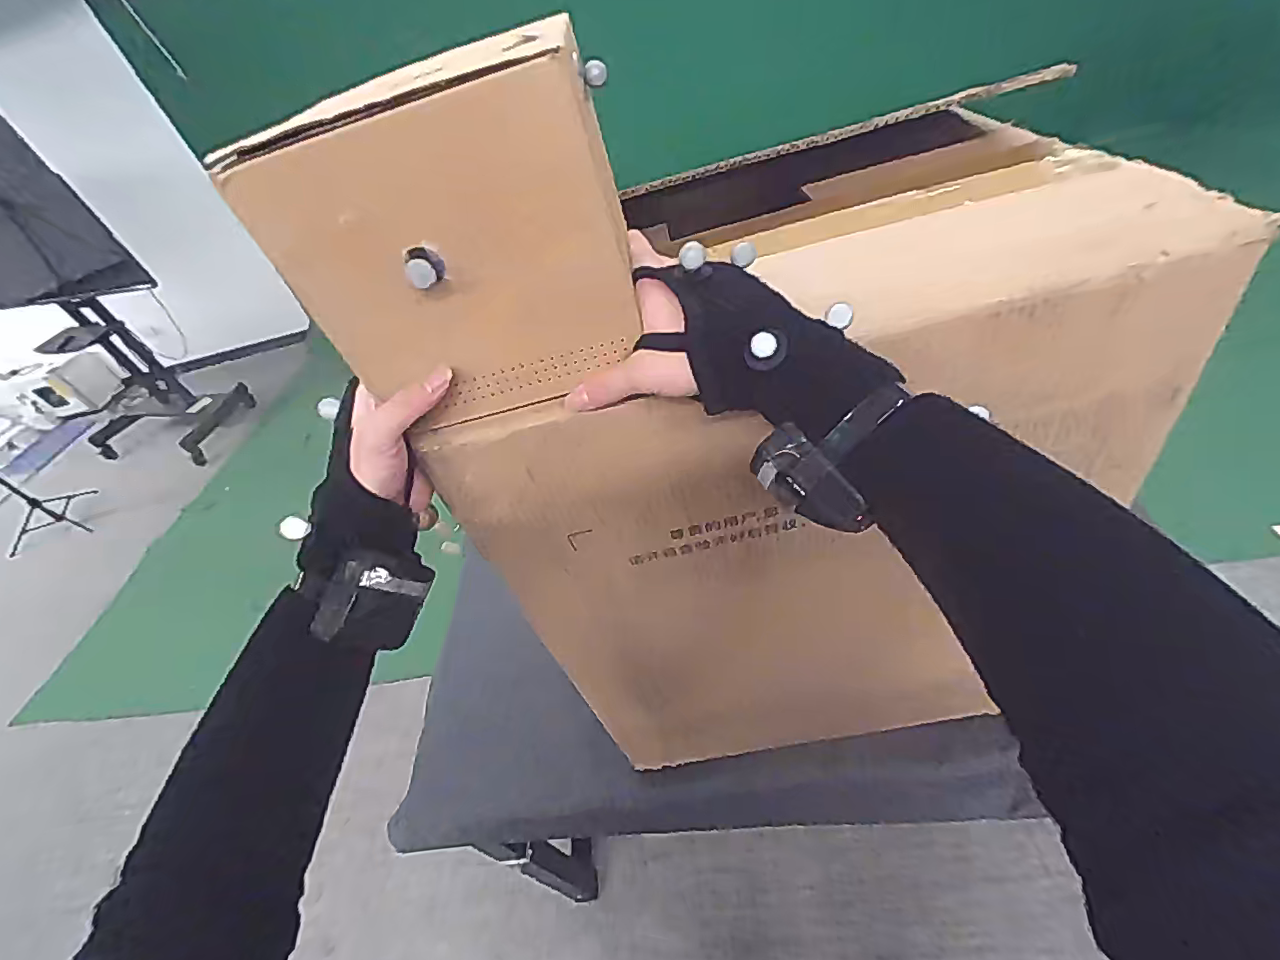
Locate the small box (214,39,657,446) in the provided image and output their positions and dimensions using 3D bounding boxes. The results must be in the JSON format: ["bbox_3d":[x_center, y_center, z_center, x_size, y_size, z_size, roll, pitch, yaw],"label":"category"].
[{"bbox_3d":[-0.099,-0.145,0.348,0.179,0.176,0.168,-14,44,7],"label":"small box"}]
